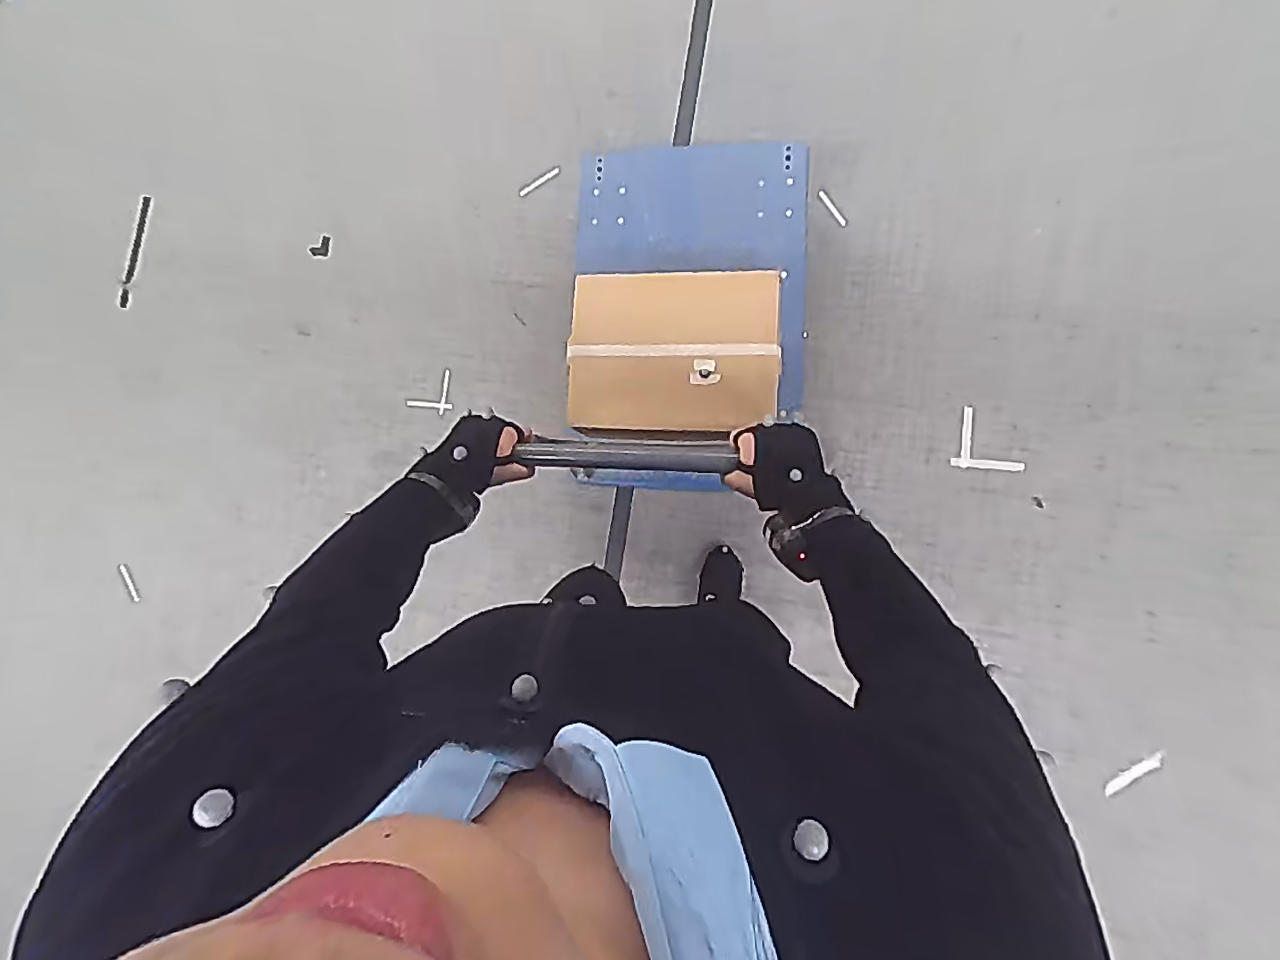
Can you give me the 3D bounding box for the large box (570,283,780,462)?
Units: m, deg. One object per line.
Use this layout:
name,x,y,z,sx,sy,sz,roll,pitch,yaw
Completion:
large box,0.082,-0.212,1.182,0.408,0.320,0.320,2,86,8
